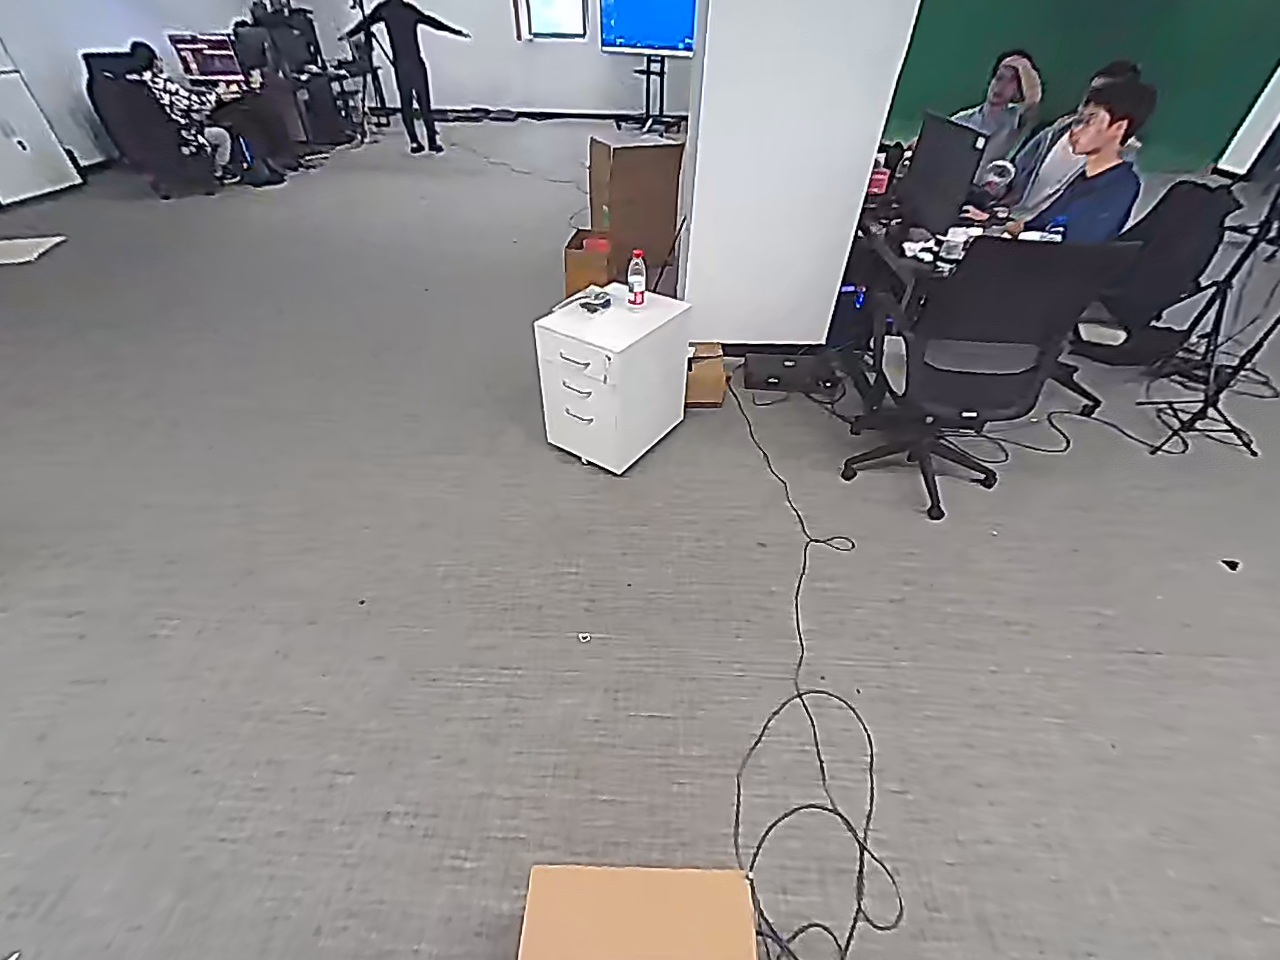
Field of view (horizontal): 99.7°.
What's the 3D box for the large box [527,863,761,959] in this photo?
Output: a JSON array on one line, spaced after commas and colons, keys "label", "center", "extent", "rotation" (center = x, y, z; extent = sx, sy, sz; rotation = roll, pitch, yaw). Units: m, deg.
[{"label": "large box", "center": [0.004, 0.935, 0.991], "extent": [0.408, 0.320, 0.320], "rotation": [1, 40, 1]}]
